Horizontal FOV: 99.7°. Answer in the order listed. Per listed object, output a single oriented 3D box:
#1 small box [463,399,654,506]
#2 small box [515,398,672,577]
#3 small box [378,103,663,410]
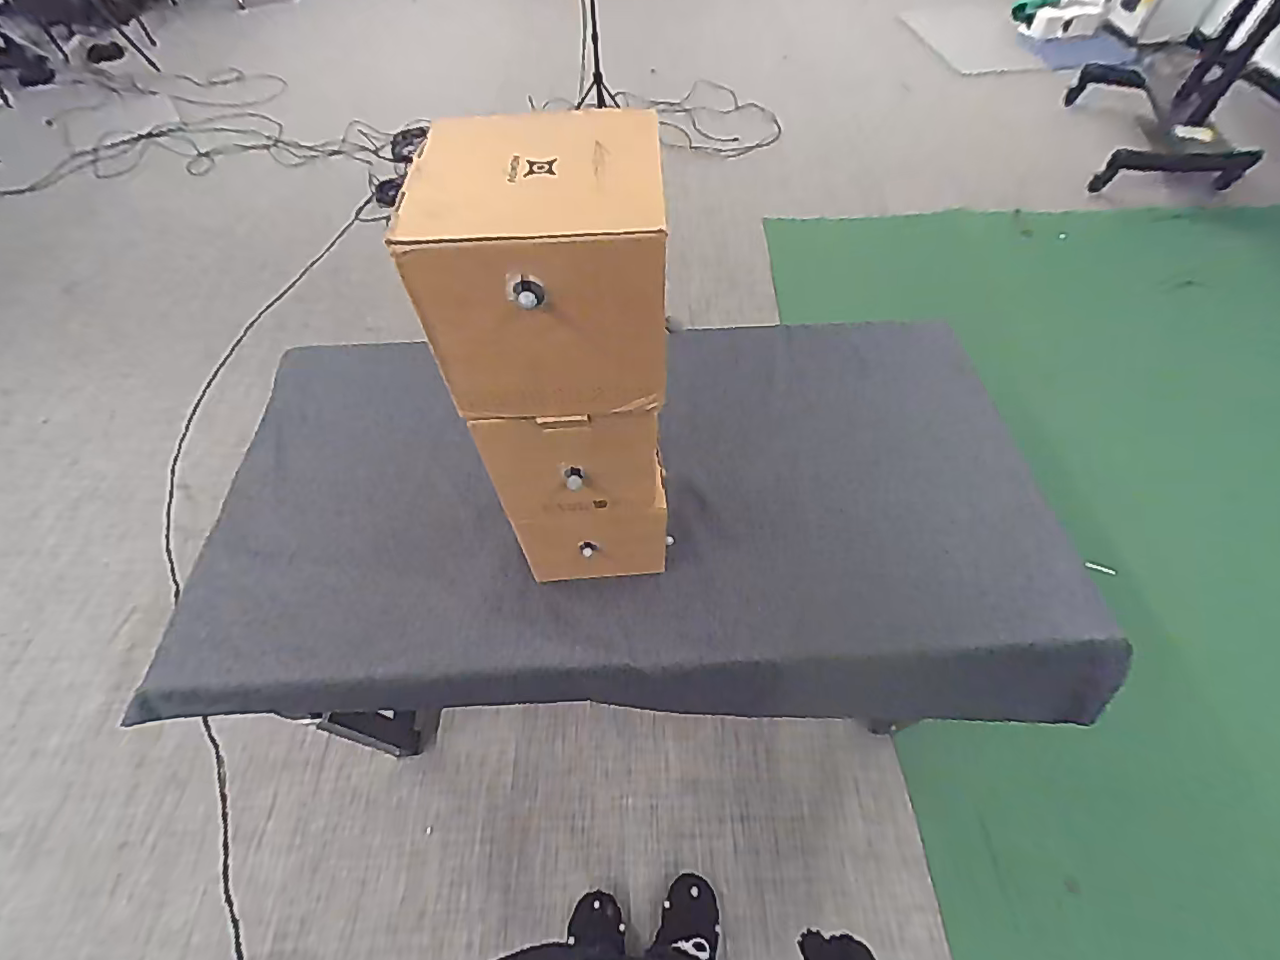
[{"bbox_3d":[-0.073,-0.083,0.572,0.168,0.176,0.179,-4,56,-1],"label":"small box"},{"bbox_3d":[-0.061,0.013,0.704,0.179,0.176,0.168,-6,56,-4],"label":"small box"},{"bbox_3d":[-0.072,-0.169,0.434,0.179,0.176,0.168,-2,57,0],"label":"small box"}]
